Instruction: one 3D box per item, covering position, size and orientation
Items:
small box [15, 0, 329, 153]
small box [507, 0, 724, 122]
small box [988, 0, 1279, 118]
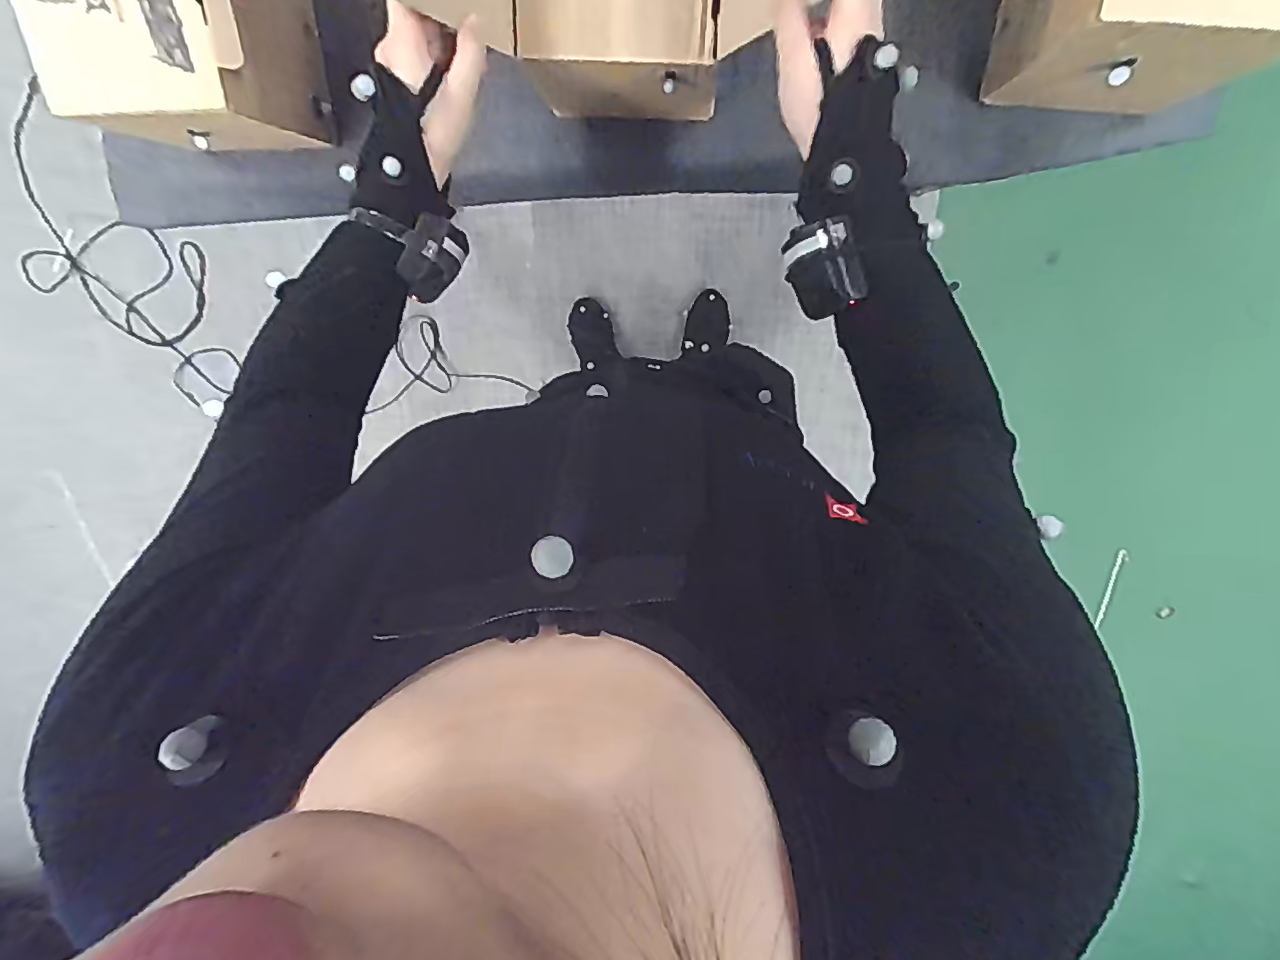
[{"bbox_3d":[-0.438,-0.431,0.530,0.179,0.176,0.168,1,112,5],"label":"small box"},{"bbox_3d":[-0.012,-0.442,0.491,0.179,0.176,0.168,4,111,4],"label":"small box"},{"bbox_3d":[0.434,-0.426,0.451,0.179,0.176,0.168,6,108,3],"label":"small box"}]
